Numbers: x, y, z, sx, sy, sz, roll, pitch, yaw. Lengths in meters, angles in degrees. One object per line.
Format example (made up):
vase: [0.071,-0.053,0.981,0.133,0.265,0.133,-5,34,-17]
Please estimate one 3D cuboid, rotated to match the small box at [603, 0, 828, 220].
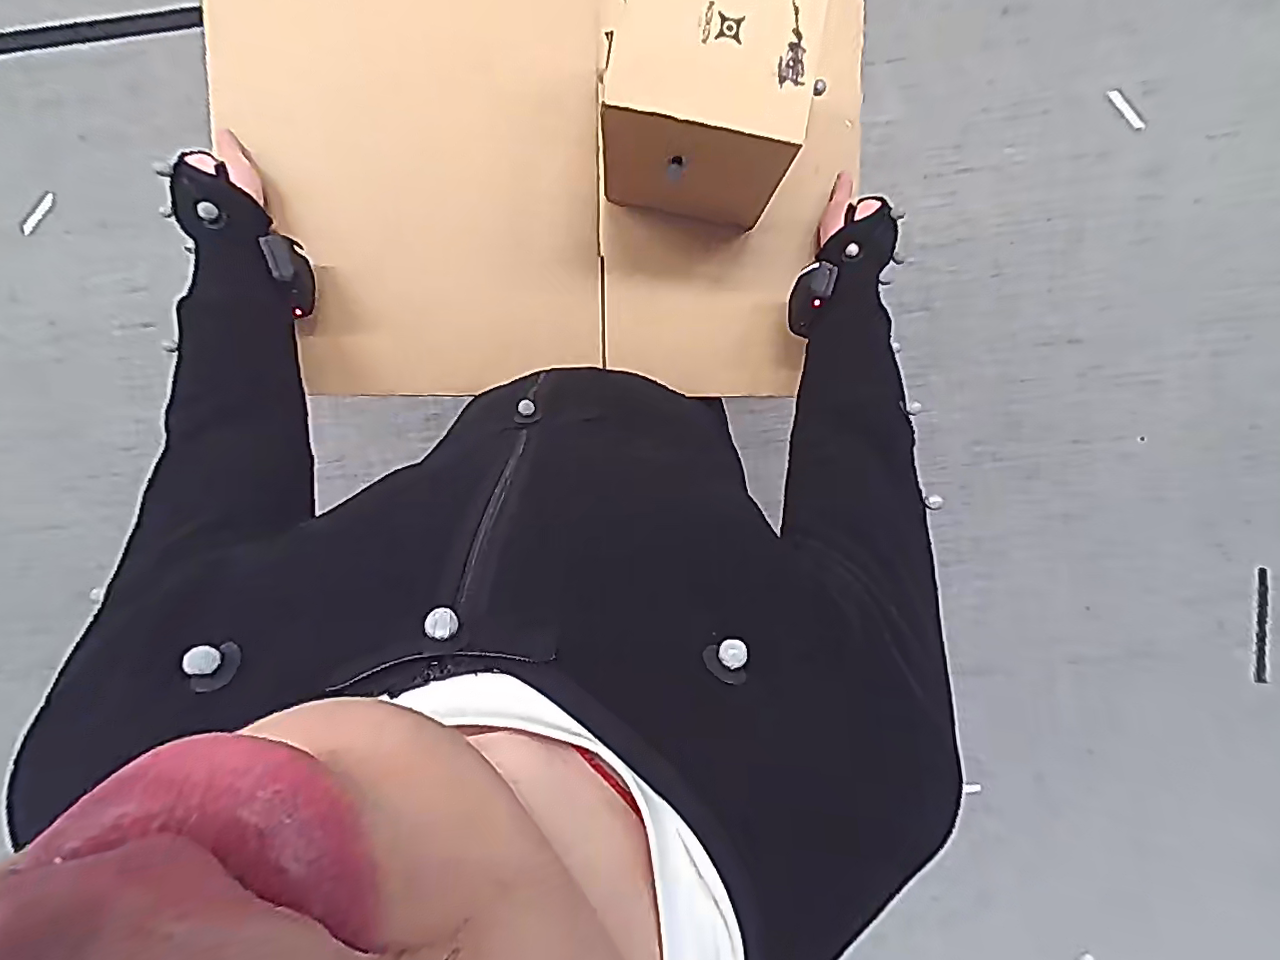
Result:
small box: [0.066,-0.383,0.535,0.179,0.176,0.168,10,93,-2]
